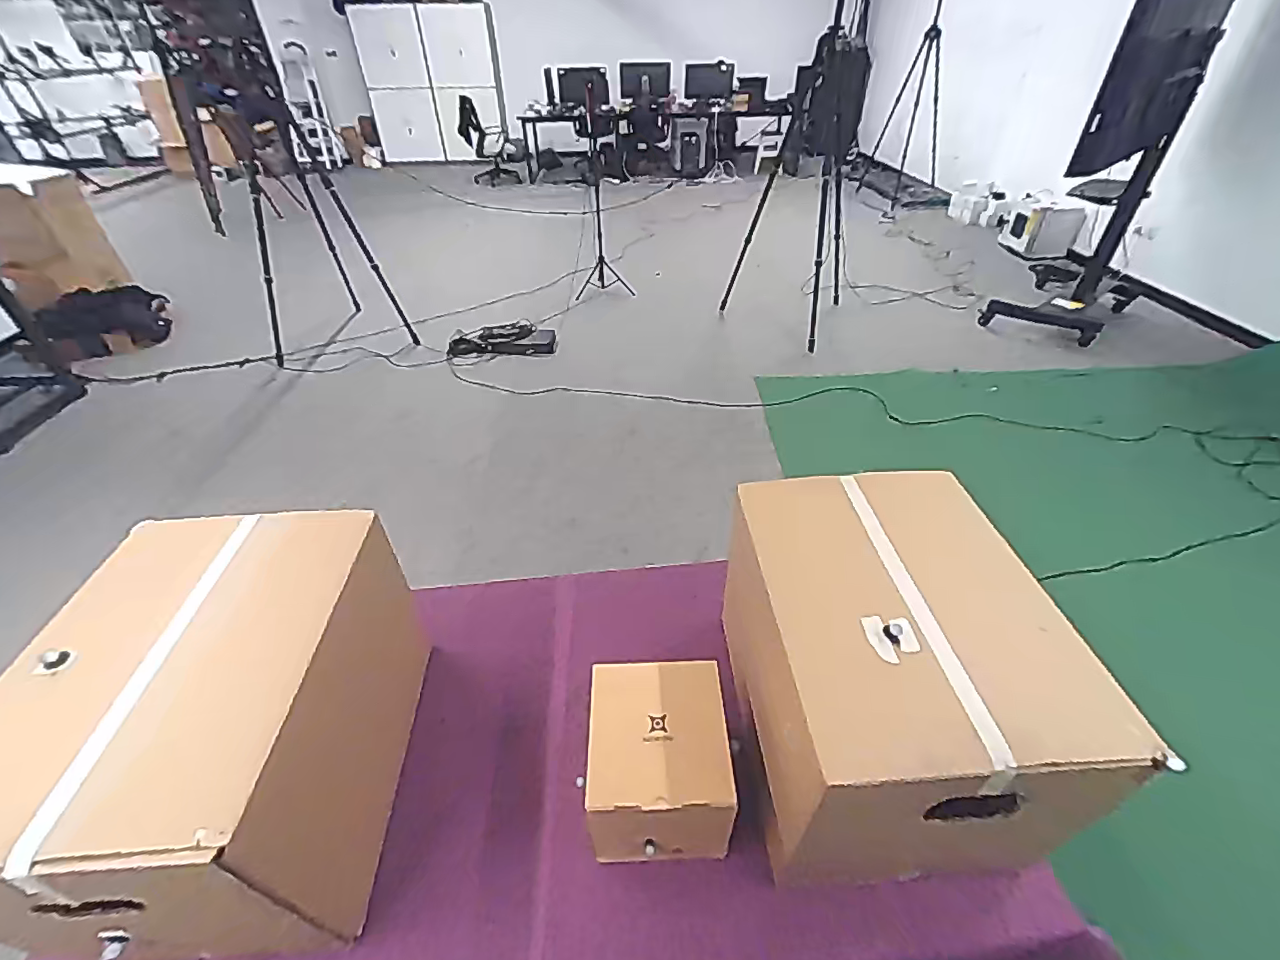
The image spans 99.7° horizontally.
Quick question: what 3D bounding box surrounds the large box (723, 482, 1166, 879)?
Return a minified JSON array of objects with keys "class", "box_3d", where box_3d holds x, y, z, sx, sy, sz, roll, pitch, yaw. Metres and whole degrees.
[{"class":"large box","box_3d":[0.311,0.247,0.724,0.320,0.320,0.408,-2,40,-2]}]
